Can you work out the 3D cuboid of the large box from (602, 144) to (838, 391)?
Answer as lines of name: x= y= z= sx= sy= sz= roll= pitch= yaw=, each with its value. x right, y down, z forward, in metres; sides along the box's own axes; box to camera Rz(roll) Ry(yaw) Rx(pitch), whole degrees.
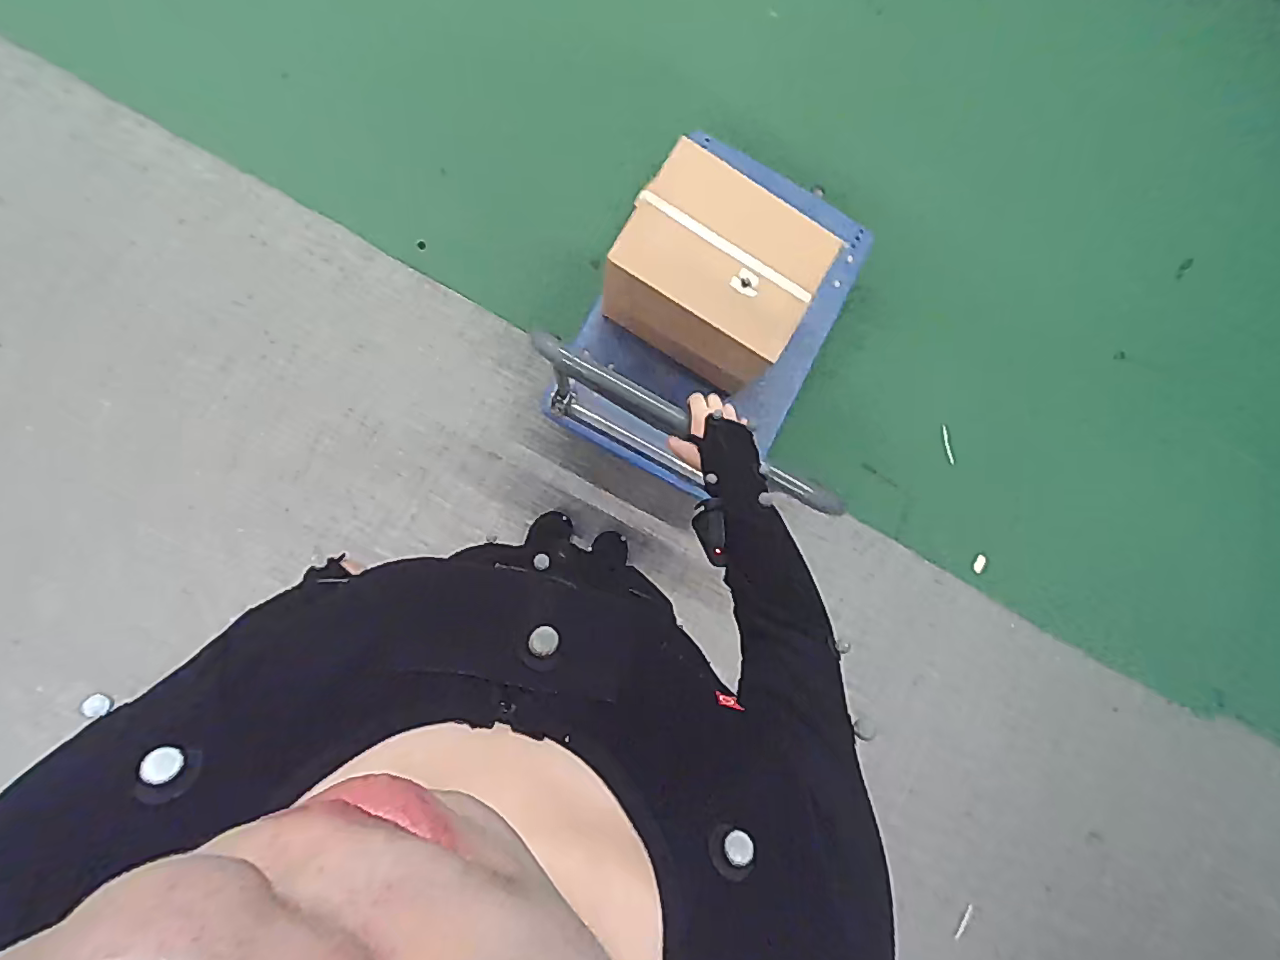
large box: x=0.162 y=-0.469 z=1.274 sx=0.408 sy=0.320 sz=0.320 roll=31 pitch=84 yaw=-5
